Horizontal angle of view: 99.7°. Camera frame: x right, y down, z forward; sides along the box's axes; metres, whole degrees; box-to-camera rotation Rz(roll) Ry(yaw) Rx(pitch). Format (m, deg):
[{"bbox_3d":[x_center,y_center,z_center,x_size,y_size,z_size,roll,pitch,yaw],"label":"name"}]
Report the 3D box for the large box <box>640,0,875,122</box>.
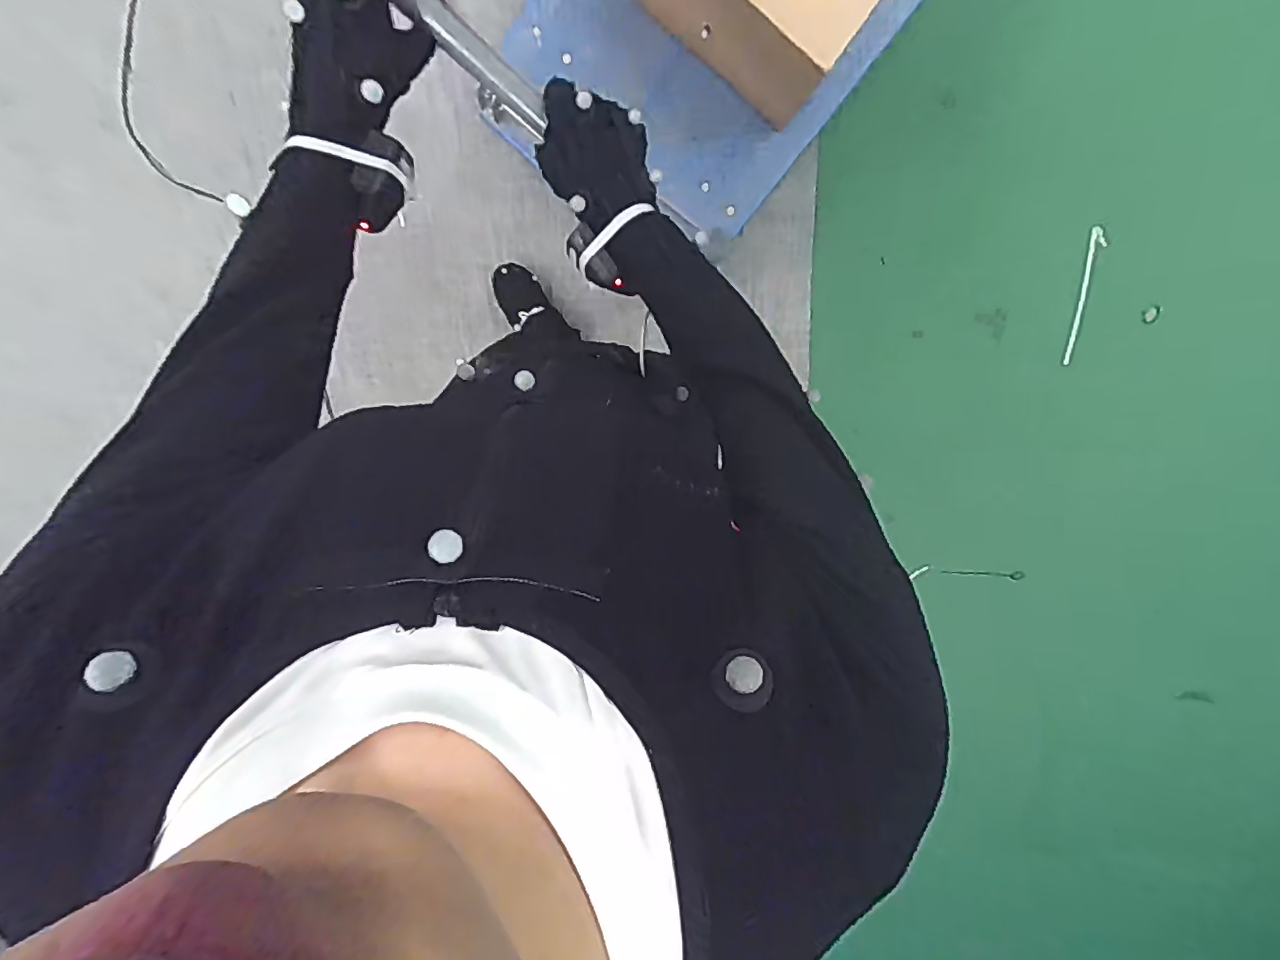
[{"bbox_3d":[0.204,-0.872,0.850,0.408,0.320,0.320,36,106,-10],"label":"large box"}]
